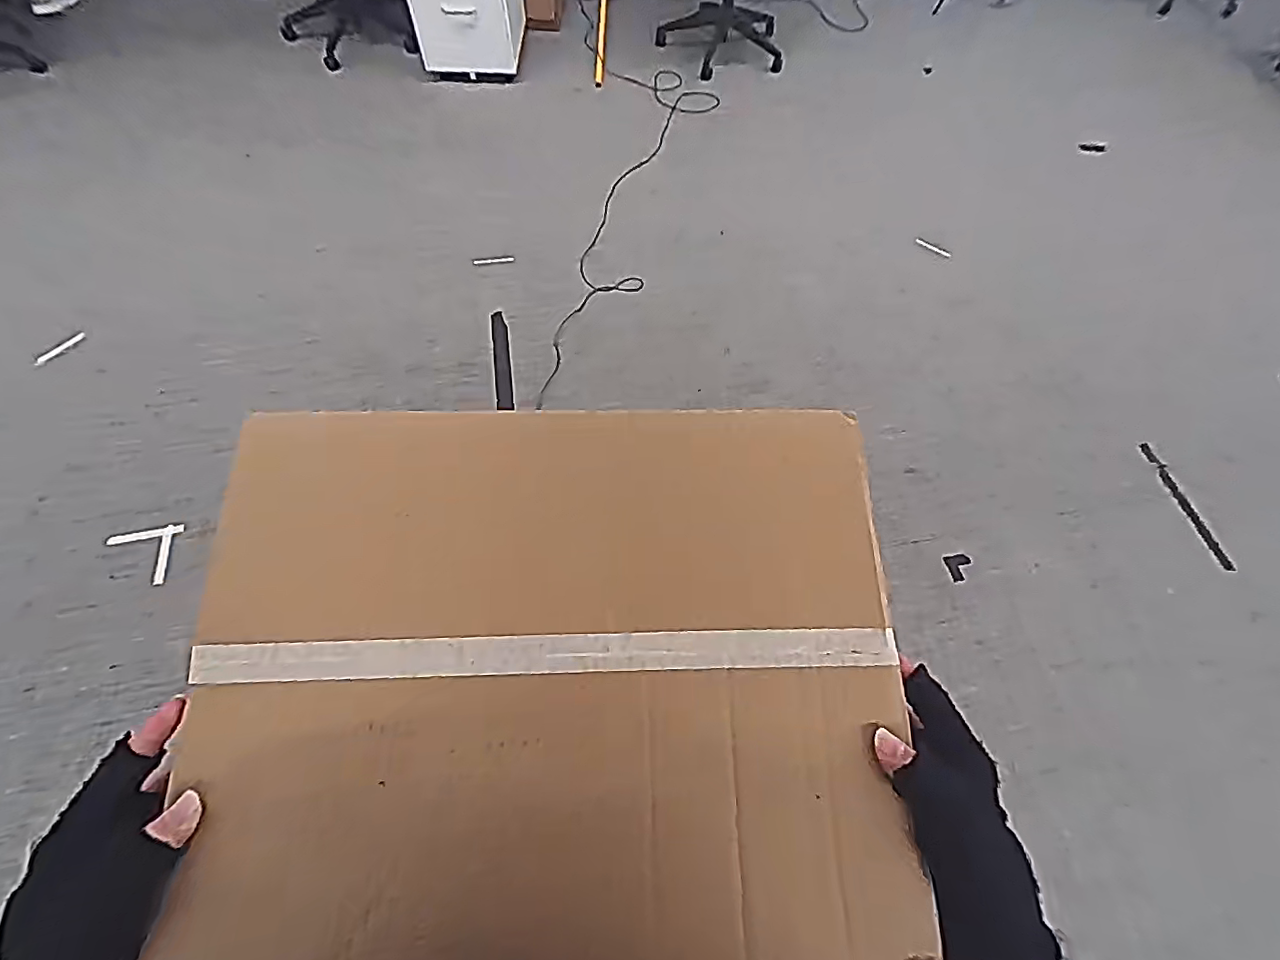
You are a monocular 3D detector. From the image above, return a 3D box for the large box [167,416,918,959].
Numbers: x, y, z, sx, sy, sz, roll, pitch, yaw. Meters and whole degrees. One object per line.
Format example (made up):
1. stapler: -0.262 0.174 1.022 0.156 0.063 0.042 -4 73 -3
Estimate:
1. large box: -0.056 0.149 0.470 0.408 0.320 0.320 -1 73 -2
